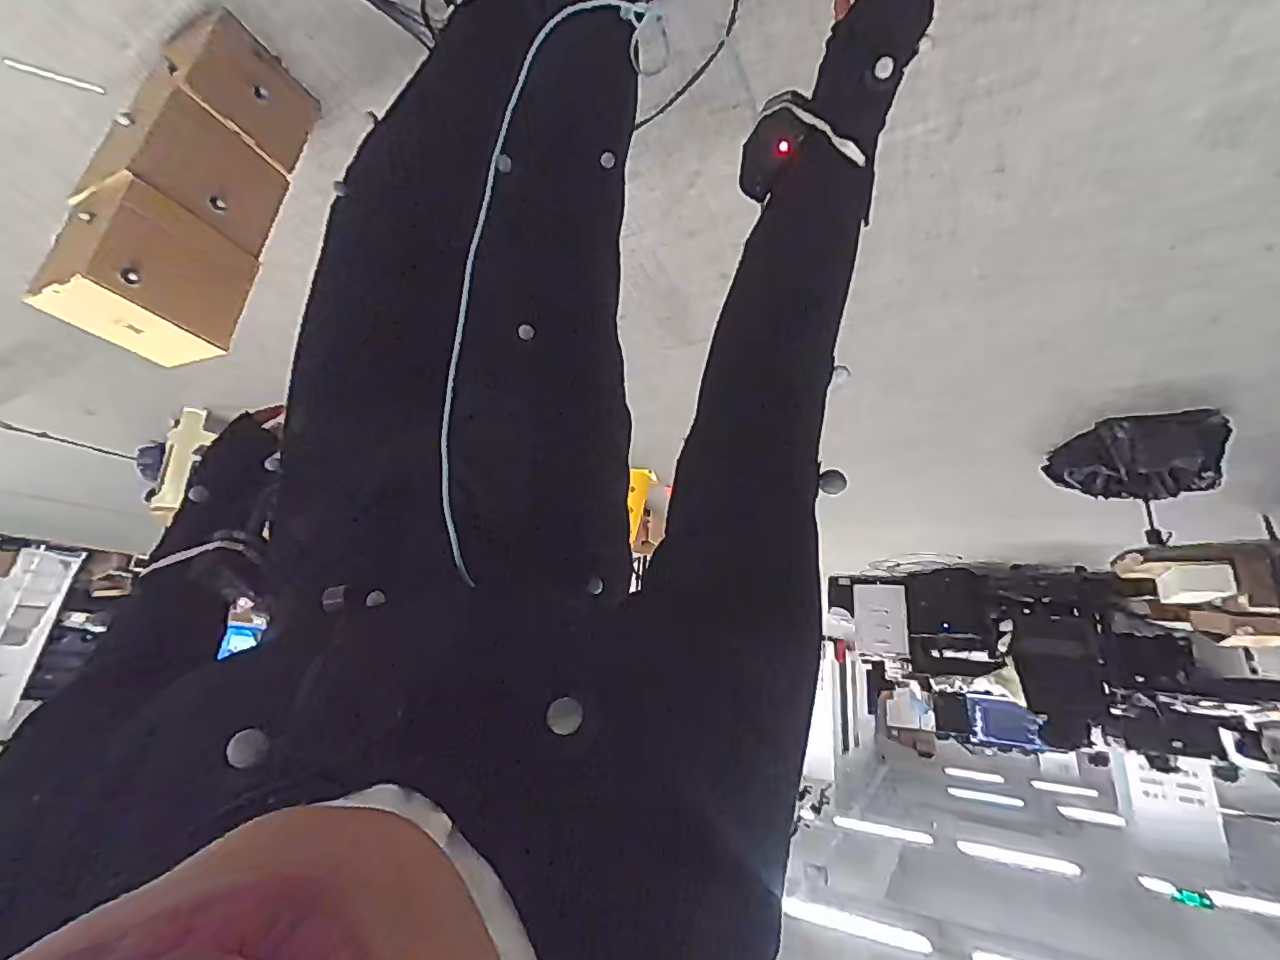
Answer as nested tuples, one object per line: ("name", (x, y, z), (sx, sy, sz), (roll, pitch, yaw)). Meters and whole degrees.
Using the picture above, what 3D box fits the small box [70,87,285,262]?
("small box", (-0.699, -0.450, 0.838), (0.168, 0.176, 0.179), (-3, 158, 23))

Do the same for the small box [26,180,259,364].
("small box", (-0.710, -0.294, 0.793), (0.168, 0.176, 0.179), (-3, 159, 24))

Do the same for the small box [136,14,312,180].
("small box", (-0.677, -0.605, 0.890), (0.179, 0.176, 0.168), (-4, 158, 24))
